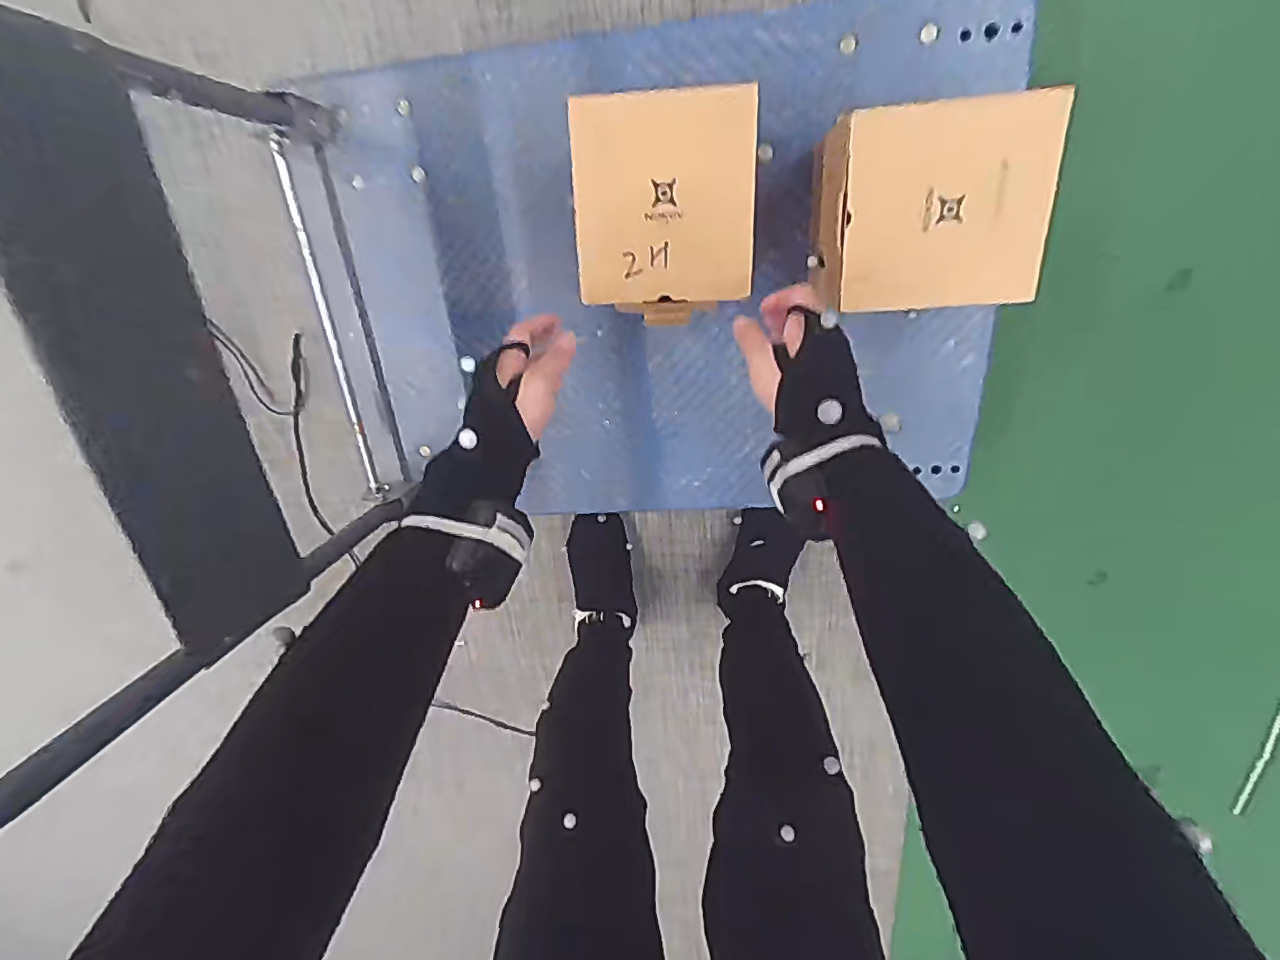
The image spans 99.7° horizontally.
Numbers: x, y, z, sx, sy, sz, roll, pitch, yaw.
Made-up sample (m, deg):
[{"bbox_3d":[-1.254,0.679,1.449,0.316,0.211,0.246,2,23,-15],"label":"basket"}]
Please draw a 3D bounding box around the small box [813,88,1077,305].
[{"bbox_3d":[0.280,-0.271,0.548,0.179,0.176,0.168,0,113,8],"label":"small box"}]

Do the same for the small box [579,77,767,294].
[{"bbox_3d":[0.036,-0.292,0.569,0.168,0.176,0.179,2,113,7],"label":"small box"}]
